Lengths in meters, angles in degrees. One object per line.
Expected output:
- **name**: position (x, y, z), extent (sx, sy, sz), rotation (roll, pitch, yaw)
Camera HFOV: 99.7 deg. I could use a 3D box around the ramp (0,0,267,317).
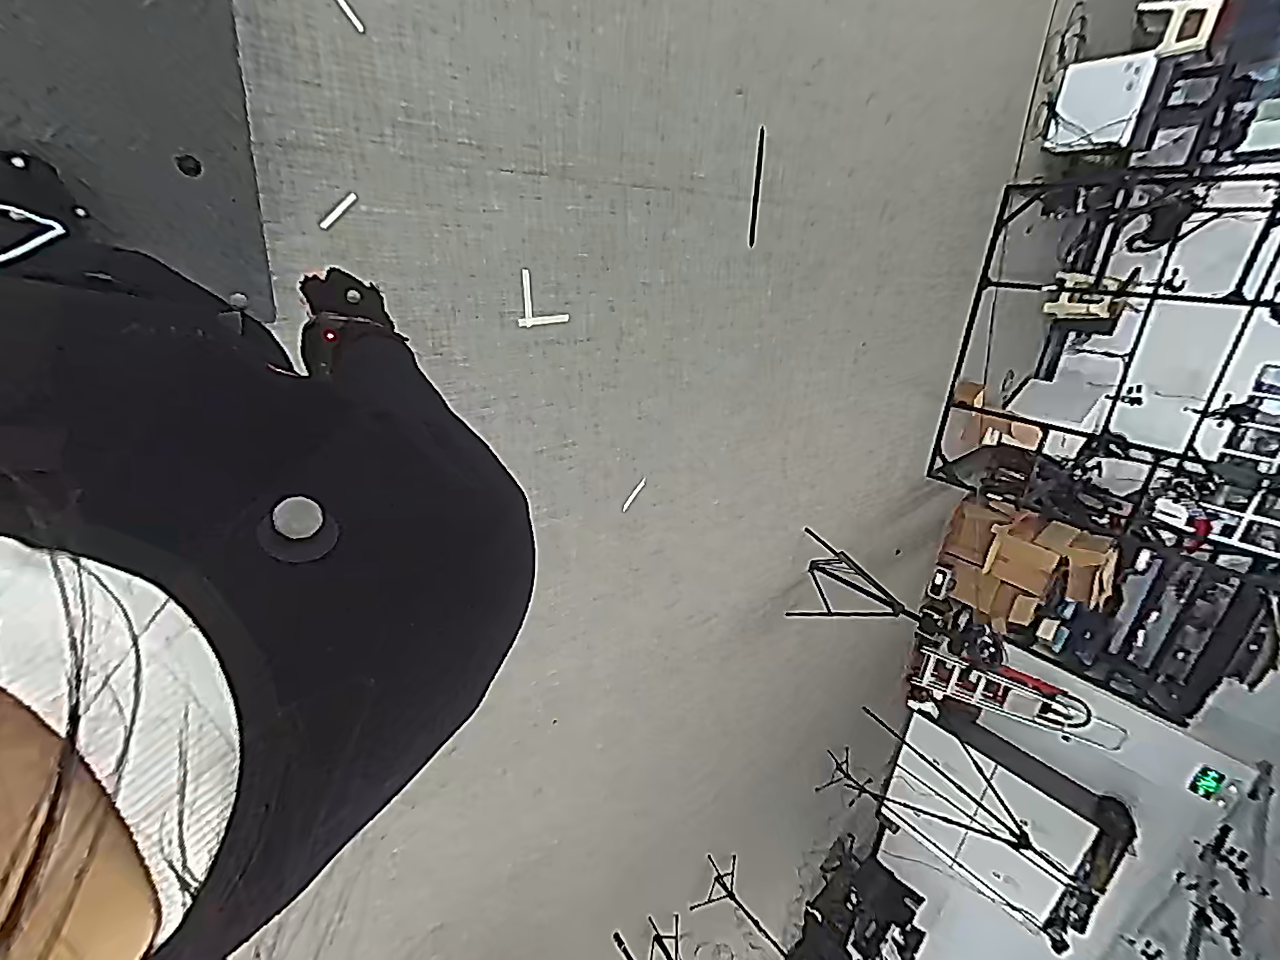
- **ramp**: position (-0.905, -0.739, 0.798), extent (0.509, 0.206, 0.991), rotation (-17, 121, -39)
